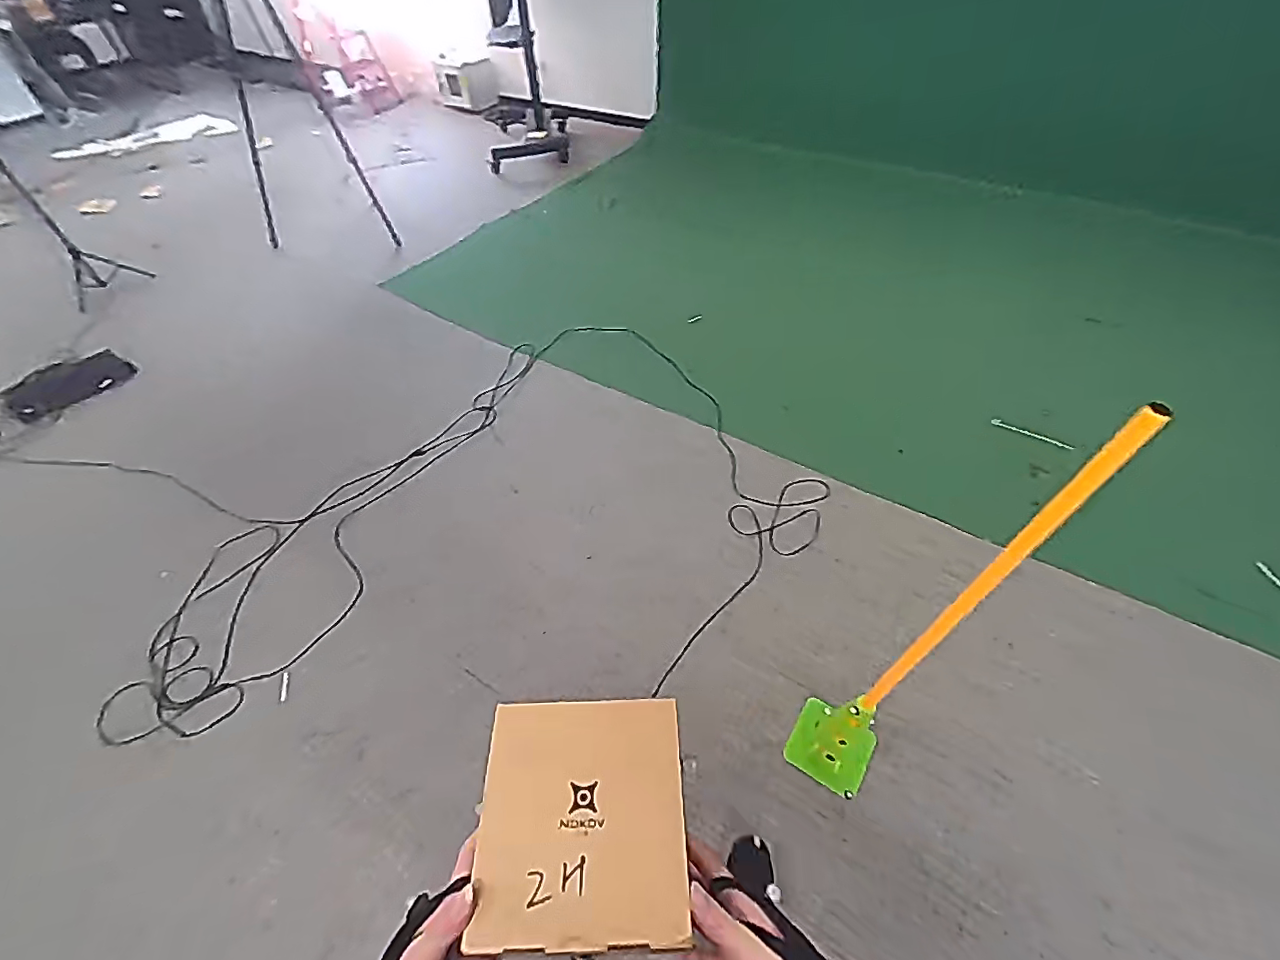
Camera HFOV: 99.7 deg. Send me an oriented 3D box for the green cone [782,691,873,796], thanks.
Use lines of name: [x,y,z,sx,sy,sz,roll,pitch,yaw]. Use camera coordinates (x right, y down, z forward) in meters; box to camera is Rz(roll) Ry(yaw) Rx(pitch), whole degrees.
green cone: [0.512,0.614,1.359,0.202,0.368,0.200,27,55,23]
